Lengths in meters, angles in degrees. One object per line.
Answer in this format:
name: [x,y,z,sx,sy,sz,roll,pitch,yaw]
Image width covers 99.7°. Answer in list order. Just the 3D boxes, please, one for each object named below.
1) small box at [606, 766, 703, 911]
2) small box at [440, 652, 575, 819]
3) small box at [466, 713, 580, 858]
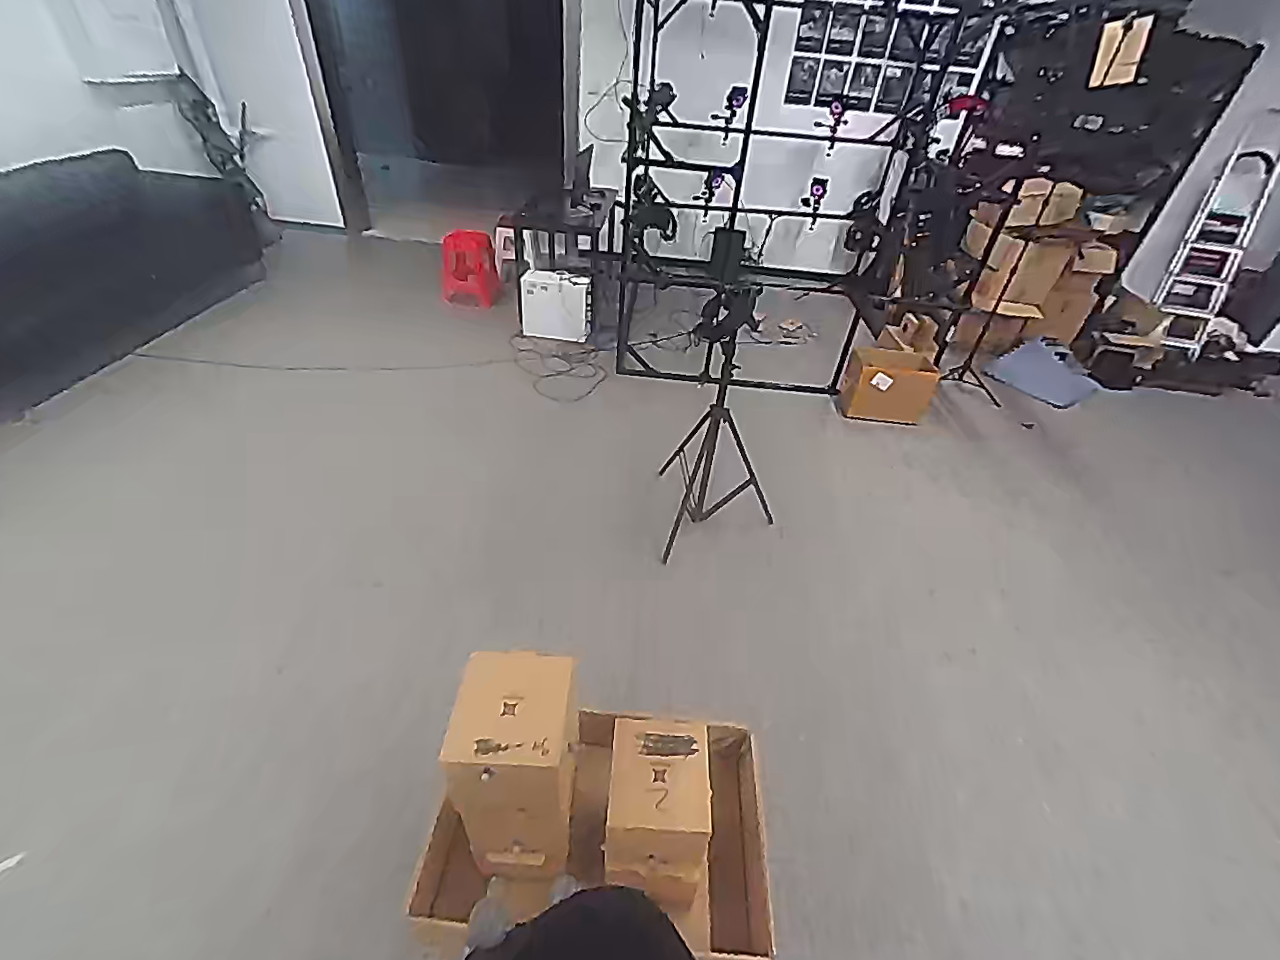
small box: [0.027,0.685,1.036,0.168,0.176,0.179,6,39,4]
small box: [-0.194,0.396,0.846,0.168,0.176,0.179,4,37,-1]
small box: [-0.198,0.527,0.947,0.168,0.176,0.179,4,39,-1]
